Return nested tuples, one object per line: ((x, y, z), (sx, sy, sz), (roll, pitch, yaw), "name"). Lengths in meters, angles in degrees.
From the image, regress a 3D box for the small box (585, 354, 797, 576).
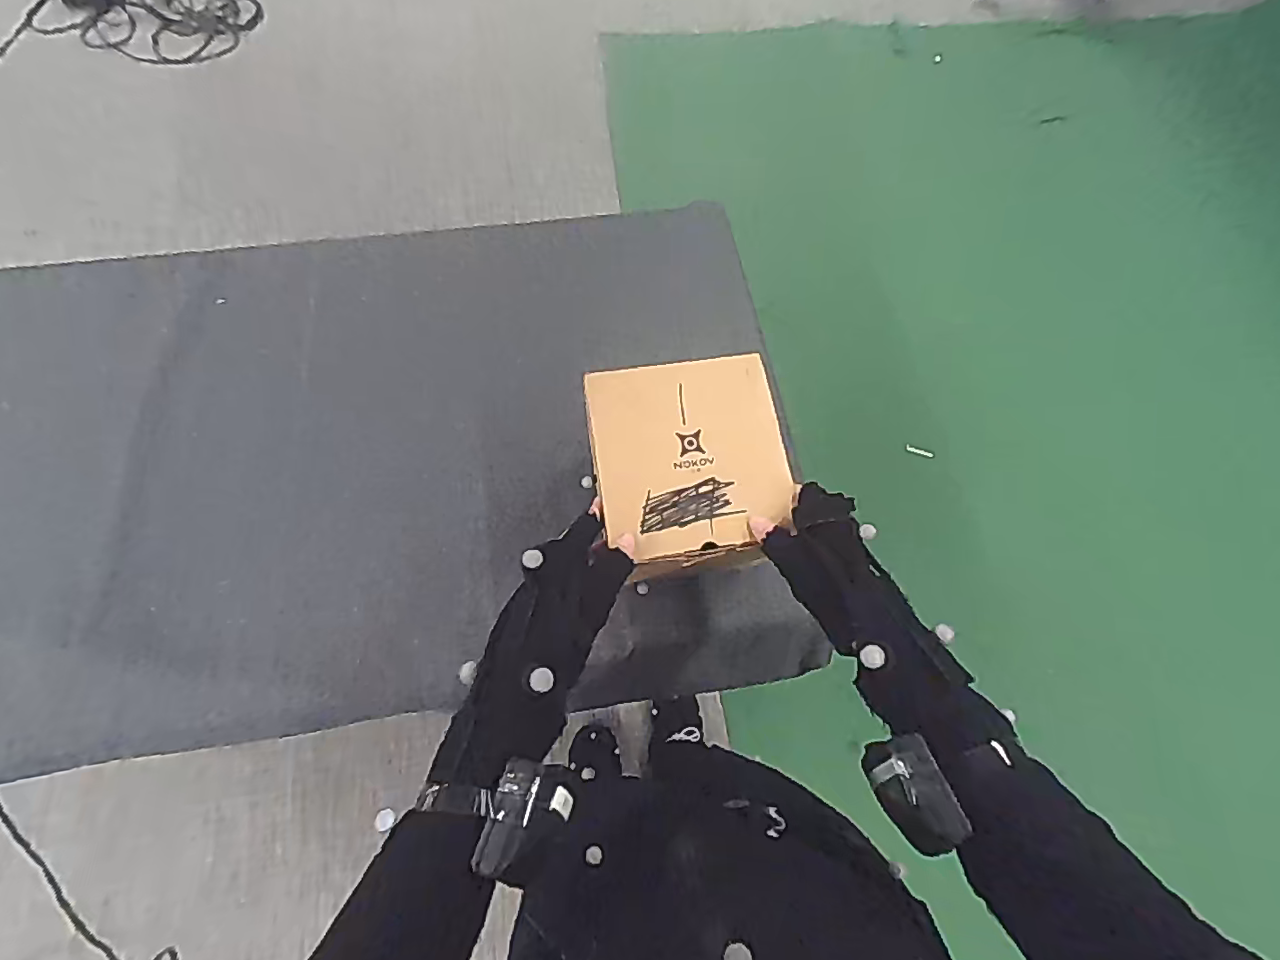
((0.039, -0.002, 0.551), (0.168, 0.176, 0.179), (-8, 73, -5), "small box")
